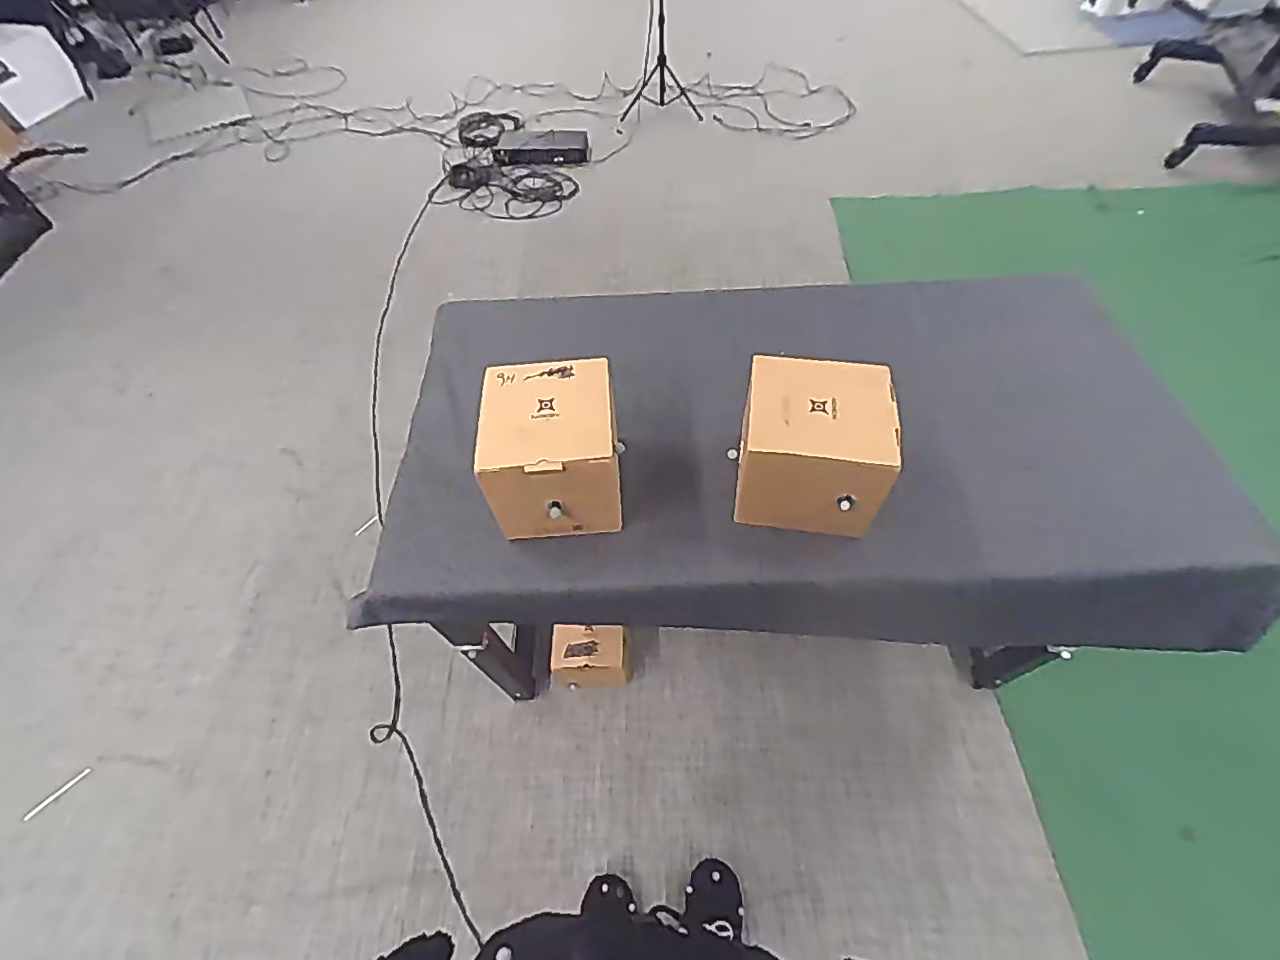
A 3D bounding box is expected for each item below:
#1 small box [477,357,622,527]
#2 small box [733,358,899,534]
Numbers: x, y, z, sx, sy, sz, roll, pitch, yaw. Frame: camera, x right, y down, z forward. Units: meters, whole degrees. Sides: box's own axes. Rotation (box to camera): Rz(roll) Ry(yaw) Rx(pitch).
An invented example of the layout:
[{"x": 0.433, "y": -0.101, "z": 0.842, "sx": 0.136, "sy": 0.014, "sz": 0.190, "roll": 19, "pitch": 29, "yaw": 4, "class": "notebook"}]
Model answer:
[{"x": -0.113, "y": -0.044, "z": 0.748, "sx": 0.168, "sy": 0.176, "sz": 0.179, "roll": -4, "pitch": 56, "yaw": -1, "class": "small box"}, {"x": 0.228, "y": -0.041, "z": 0.735, "sx": 0.179, "sy": 0.176, "sz": 0.168, "roll": 6, "pitch": 56, "yaw": 8, "class": "small box"}]
